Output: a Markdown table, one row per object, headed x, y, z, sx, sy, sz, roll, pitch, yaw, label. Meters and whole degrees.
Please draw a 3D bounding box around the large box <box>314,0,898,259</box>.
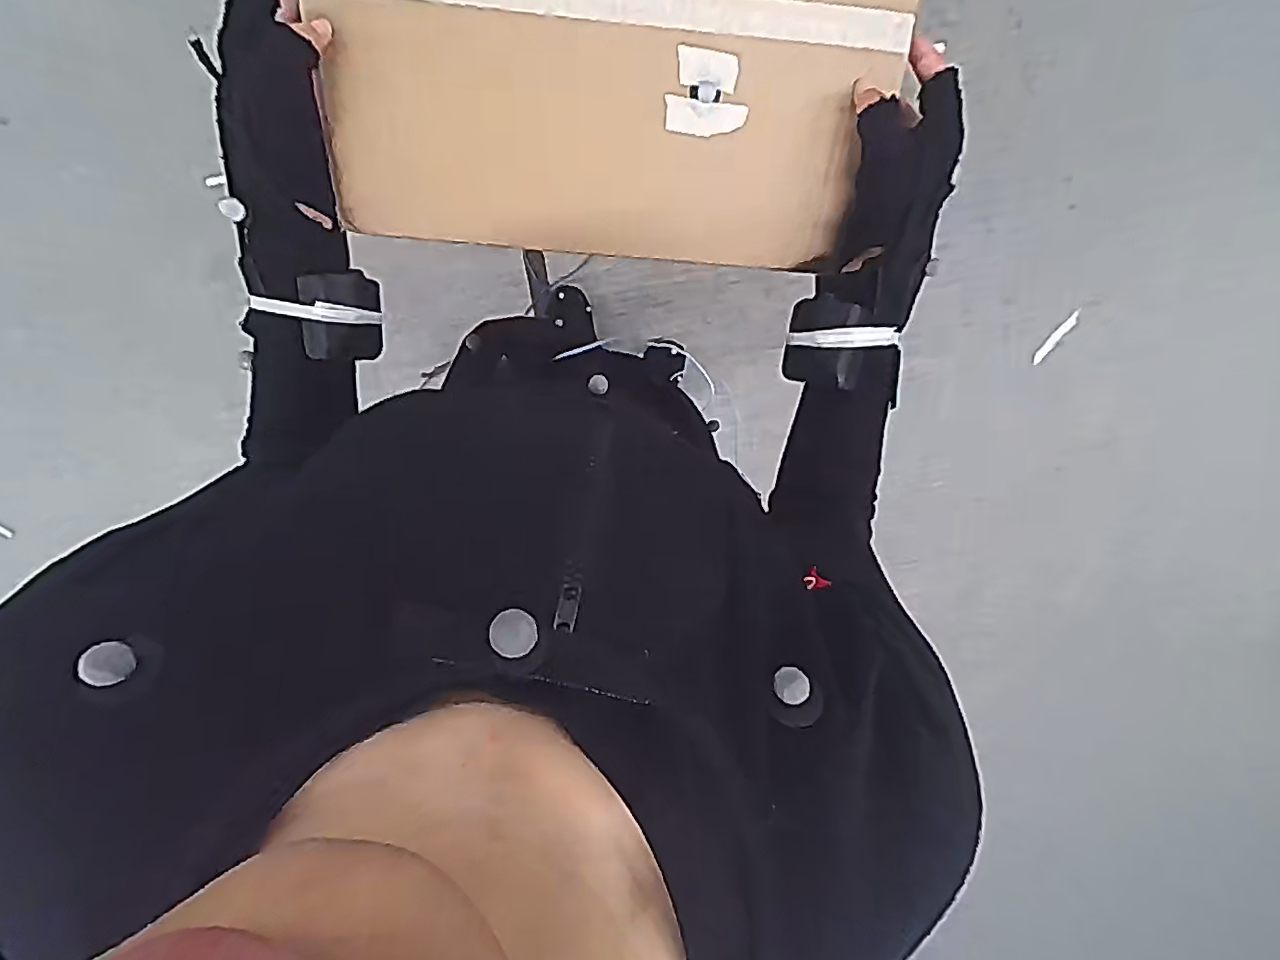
| x | y | z | sx | sy | sz | roll | pitch | yaw | label |
| --- | --- | --- | --- | --- | --- | --- | --- | --- | --- |
| -0.028 | -0.399 | 0.496 | 0.408 | 0.320 | 0.320 | 2 | 121 | -5 | large box |
